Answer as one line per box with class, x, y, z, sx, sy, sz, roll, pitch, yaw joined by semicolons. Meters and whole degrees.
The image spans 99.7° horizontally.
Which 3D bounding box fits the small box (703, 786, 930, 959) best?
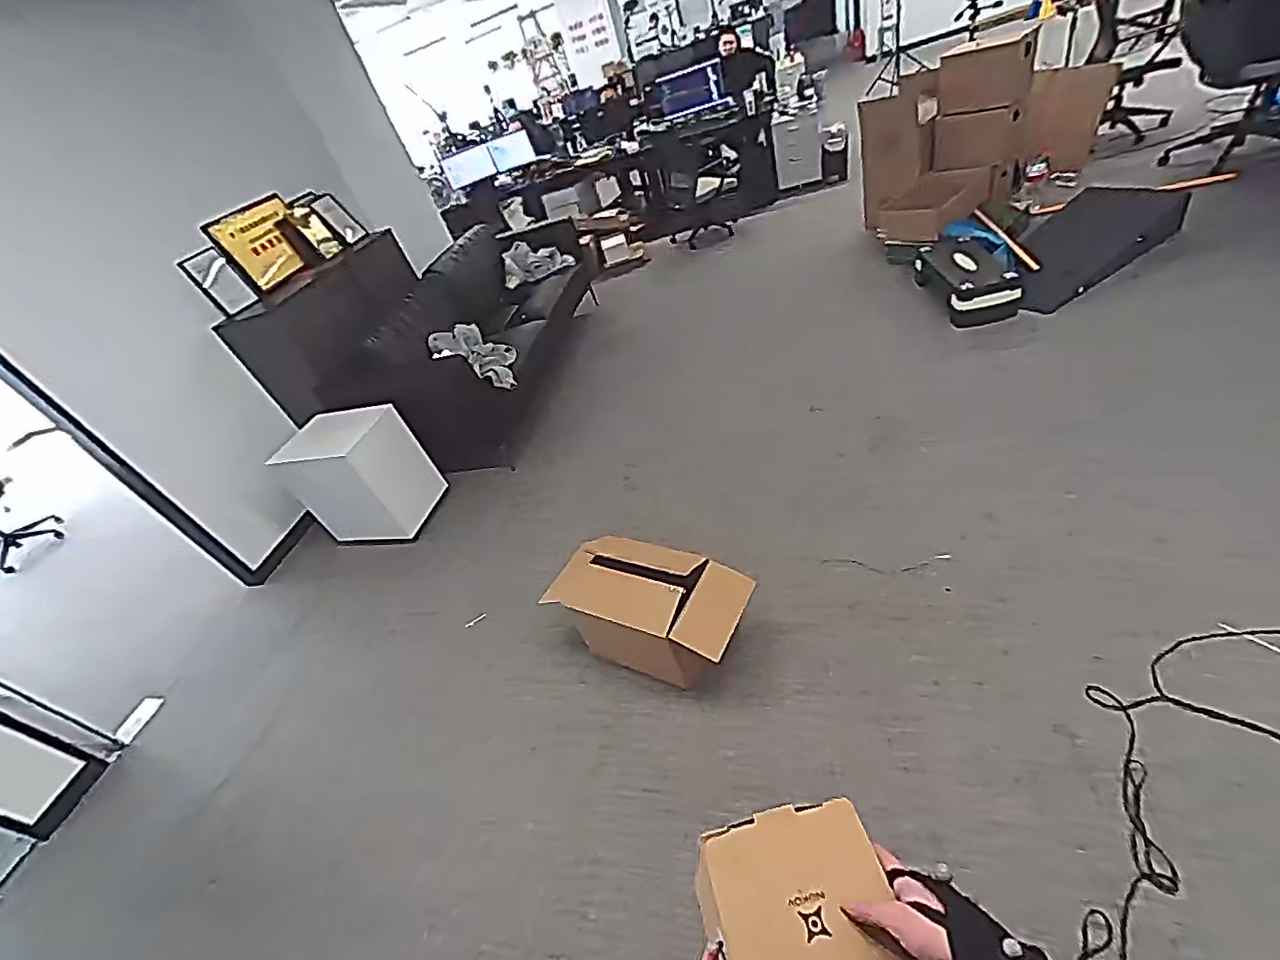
small box;0.158;0.440;0.533;0.168;0.176;0.179;-9;40;-4
